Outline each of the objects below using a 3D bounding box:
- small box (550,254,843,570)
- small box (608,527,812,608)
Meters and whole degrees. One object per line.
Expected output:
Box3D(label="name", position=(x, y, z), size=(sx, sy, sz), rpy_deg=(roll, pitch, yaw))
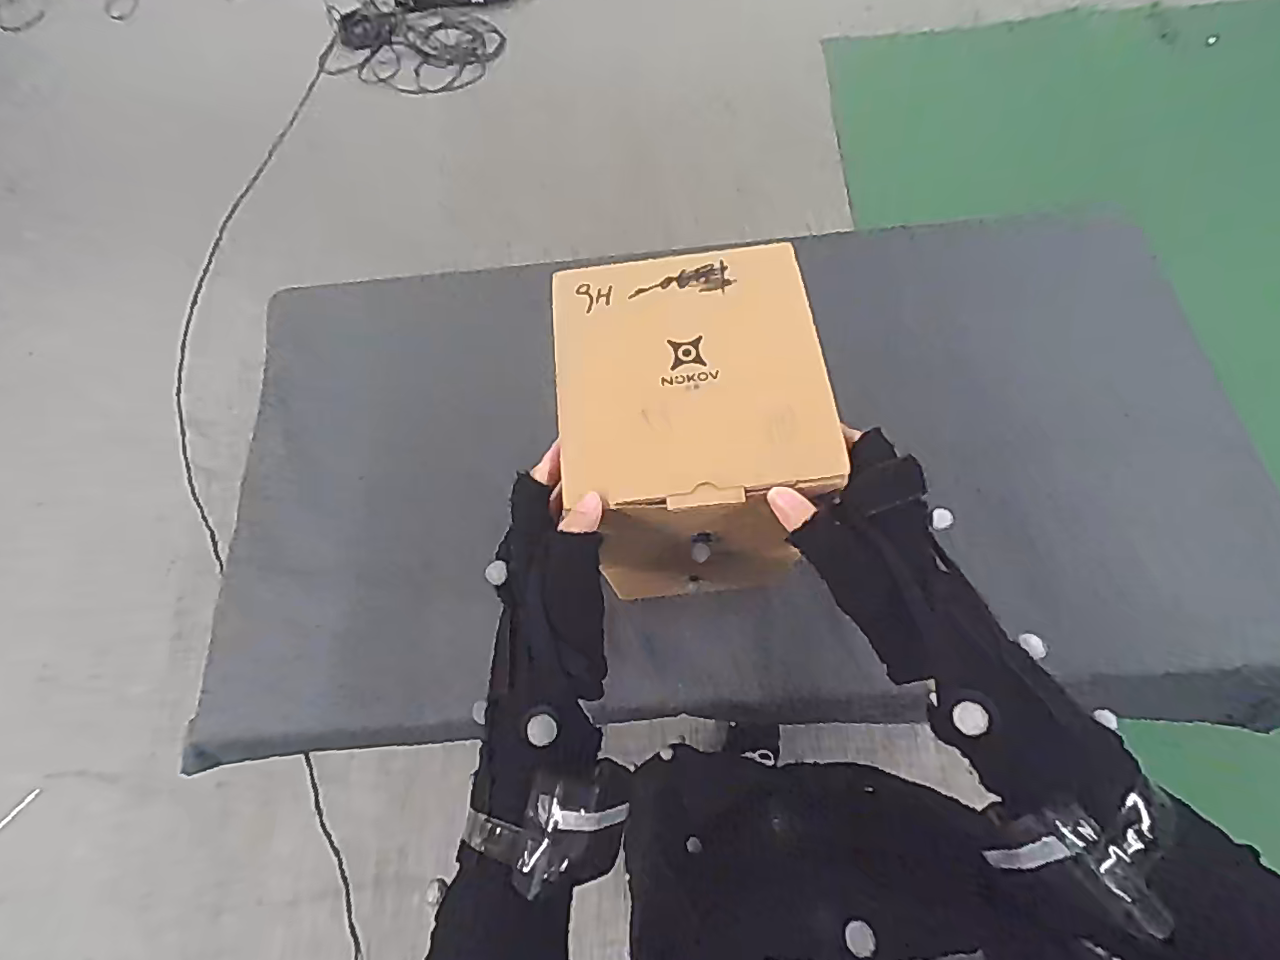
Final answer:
Box3D(label="small box", position=(0.033, -0.033, 0.408), size=(0.168, 0.176, 0.179), rpy_deg=(-7, 69, 2))
Box3D(label="small box", position=(0.053, 0.030, 0.557), size=(0.179, 0.176, 0.168), rpy_deg=(-9, 69, 0))
